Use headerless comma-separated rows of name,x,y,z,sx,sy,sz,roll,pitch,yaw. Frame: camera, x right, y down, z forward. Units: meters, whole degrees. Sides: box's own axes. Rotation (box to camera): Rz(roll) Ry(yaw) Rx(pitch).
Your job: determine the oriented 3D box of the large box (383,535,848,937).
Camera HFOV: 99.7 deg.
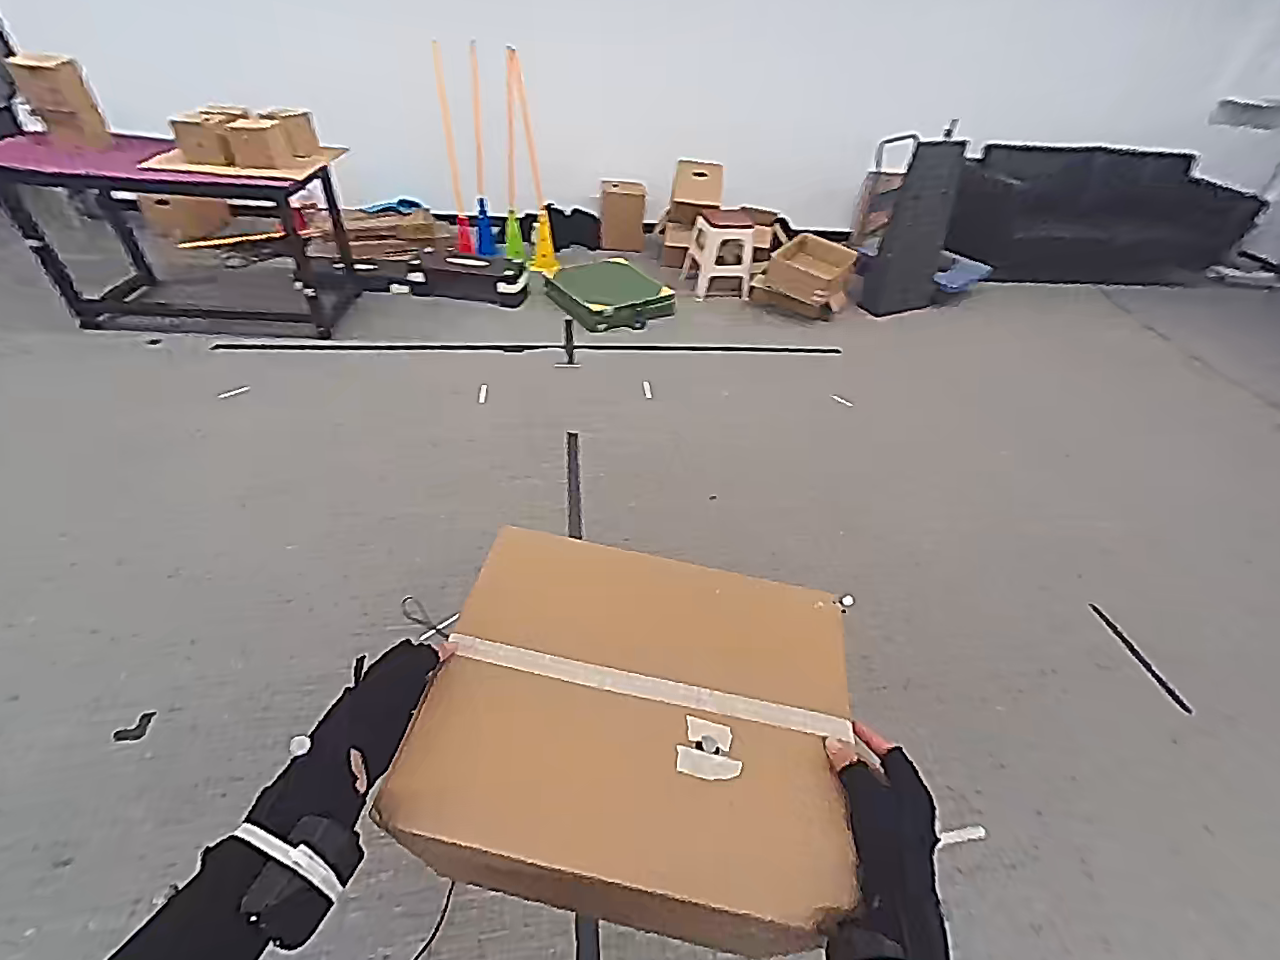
large box,-0.017,0.310,0.655,0.408,0.320,0.320,11,48,3
